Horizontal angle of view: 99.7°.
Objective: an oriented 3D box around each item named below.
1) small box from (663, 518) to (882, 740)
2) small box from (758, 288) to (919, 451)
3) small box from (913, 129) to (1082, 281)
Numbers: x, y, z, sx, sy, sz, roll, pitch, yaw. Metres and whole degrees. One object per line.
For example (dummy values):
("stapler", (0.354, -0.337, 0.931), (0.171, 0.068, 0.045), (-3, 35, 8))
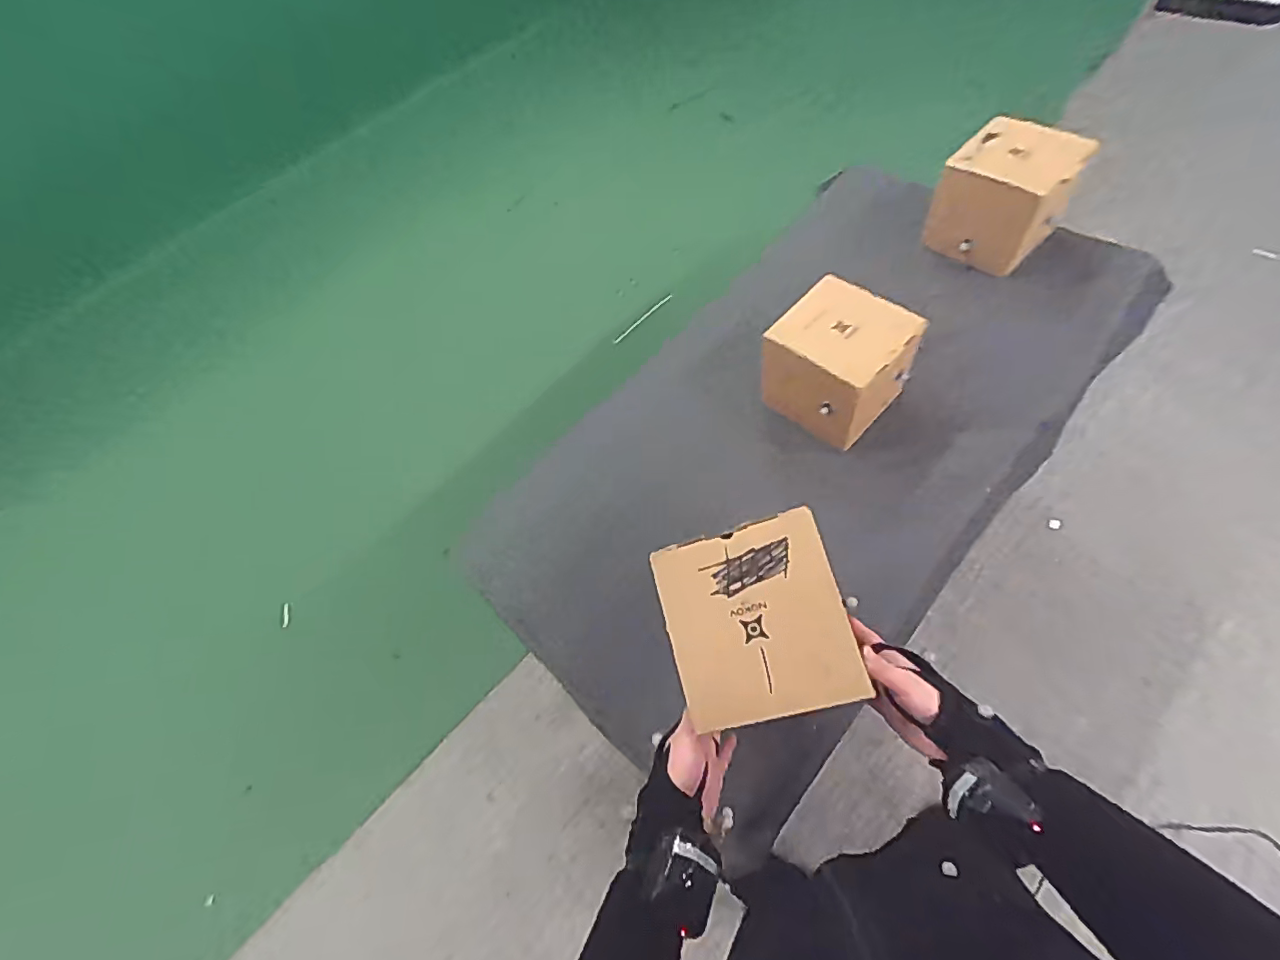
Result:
("small box", (0.140, 0.157, 0.585), (0.168, 0.176, 0.179), (-19, 73, 14))
("small box", (0.312, -0.172, 0.887), (0.179, 0.176, 0.168), (37, 72, 27))
("small box", (0.651, -0.504, 1.008), (0.168, 0.176, 0.179), (-43, 63, -13))
